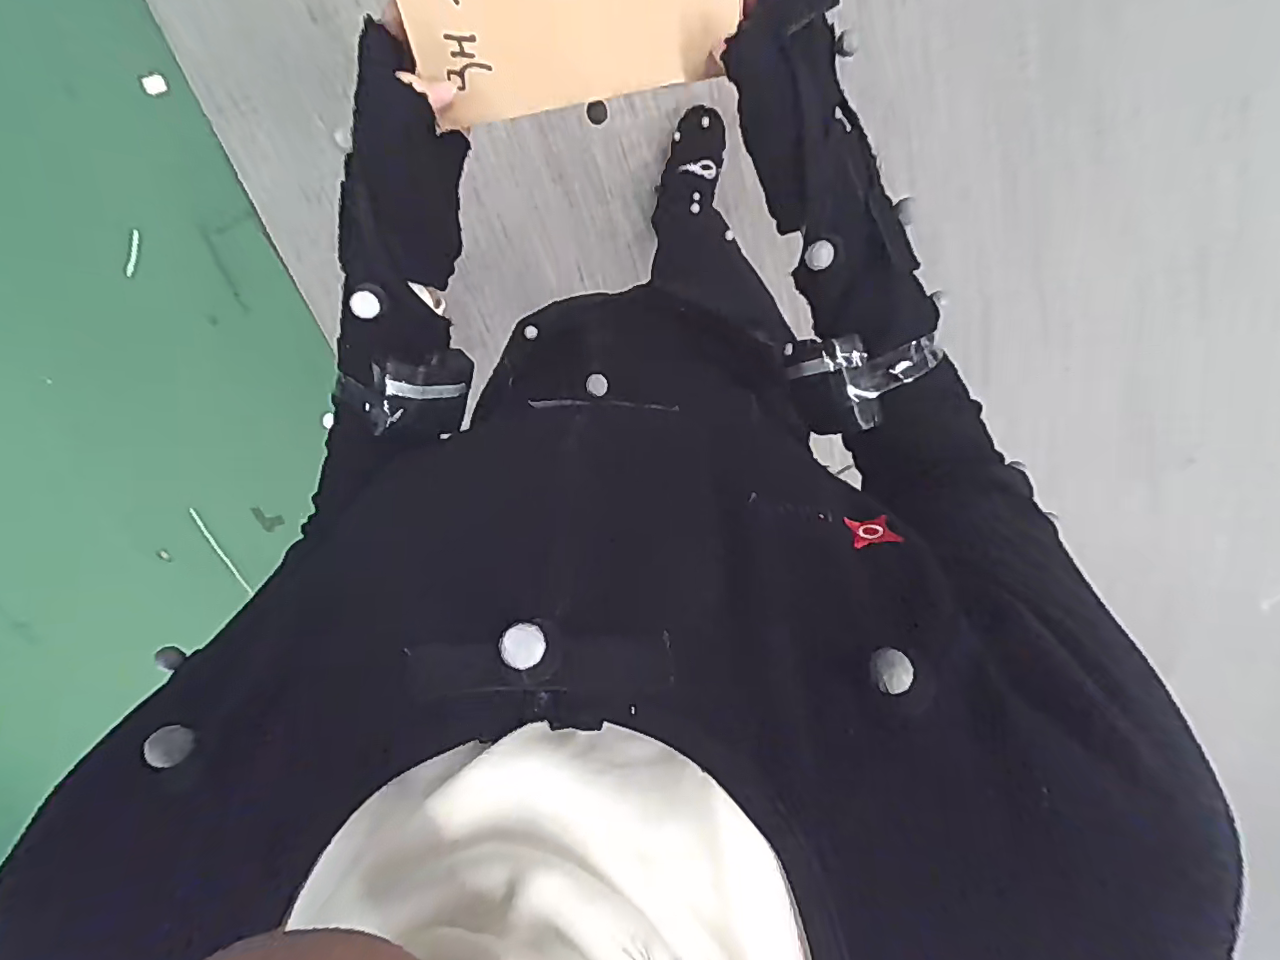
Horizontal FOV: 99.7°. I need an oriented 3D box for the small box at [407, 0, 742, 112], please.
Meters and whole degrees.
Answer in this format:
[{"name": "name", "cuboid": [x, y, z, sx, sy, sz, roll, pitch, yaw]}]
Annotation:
[{"name": "small box", "cuboid": [-0.046, -0.333, 0.319, 0.179, 0.176, 0.168, -9, 127, 2]}]
